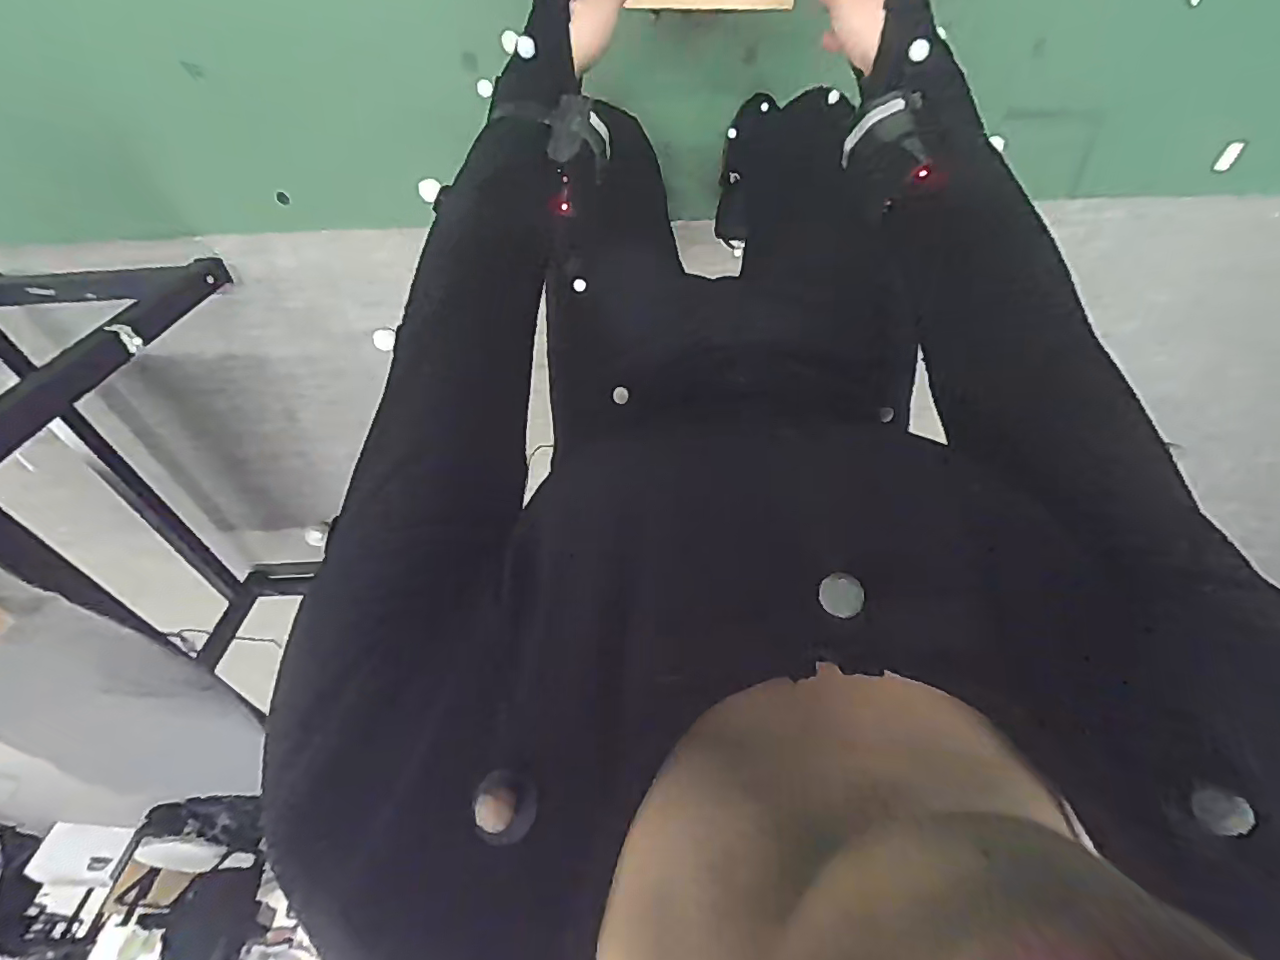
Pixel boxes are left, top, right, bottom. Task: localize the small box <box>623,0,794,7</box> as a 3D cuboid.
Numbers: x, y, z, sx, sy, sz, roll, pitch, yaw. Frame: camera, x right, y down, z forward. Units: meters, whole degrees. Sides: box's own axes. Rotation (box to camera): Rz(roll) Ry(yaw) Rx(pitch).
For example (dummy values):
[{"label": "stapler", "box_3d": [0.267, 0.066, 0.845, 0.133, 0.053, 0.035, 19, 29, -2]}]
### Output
[{"label": "small box", "box_3d": [0.068, -0.577, 0.530, 0.179, 0.176, 0.168, 1, 134, 0]}]
